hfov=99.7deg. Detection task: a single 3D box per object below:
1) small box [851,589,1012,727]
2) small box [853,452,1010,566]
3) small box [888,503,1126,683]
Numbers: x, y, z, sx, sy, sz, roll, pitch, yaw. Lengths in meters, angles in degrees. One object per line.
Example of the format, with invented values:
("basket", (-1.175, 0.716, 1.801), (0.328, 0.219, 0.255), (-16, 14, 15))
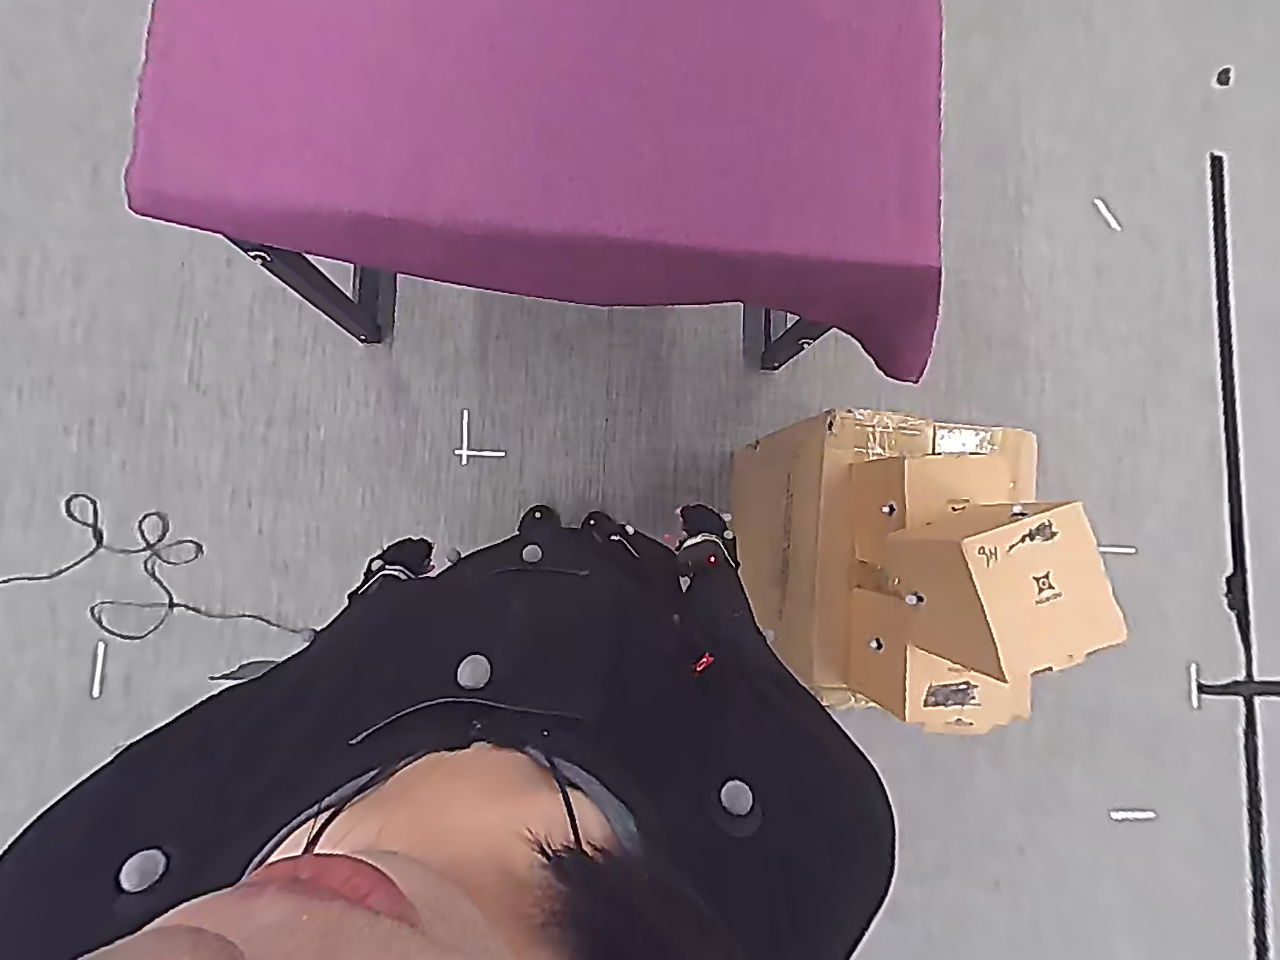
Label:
("small box", (0.454, 0.274, 0.862), (0.168, 0.176, 0.179), (4, 83, -5))
("small box", (0.465, 0.051, 0.882), (0.168, 0.176, 0.179), (-1, 87, -5))
("small box", (0.464, 0.135, 0.710), (0.168, 0.176, 0.179), (-17, 87, -7))
